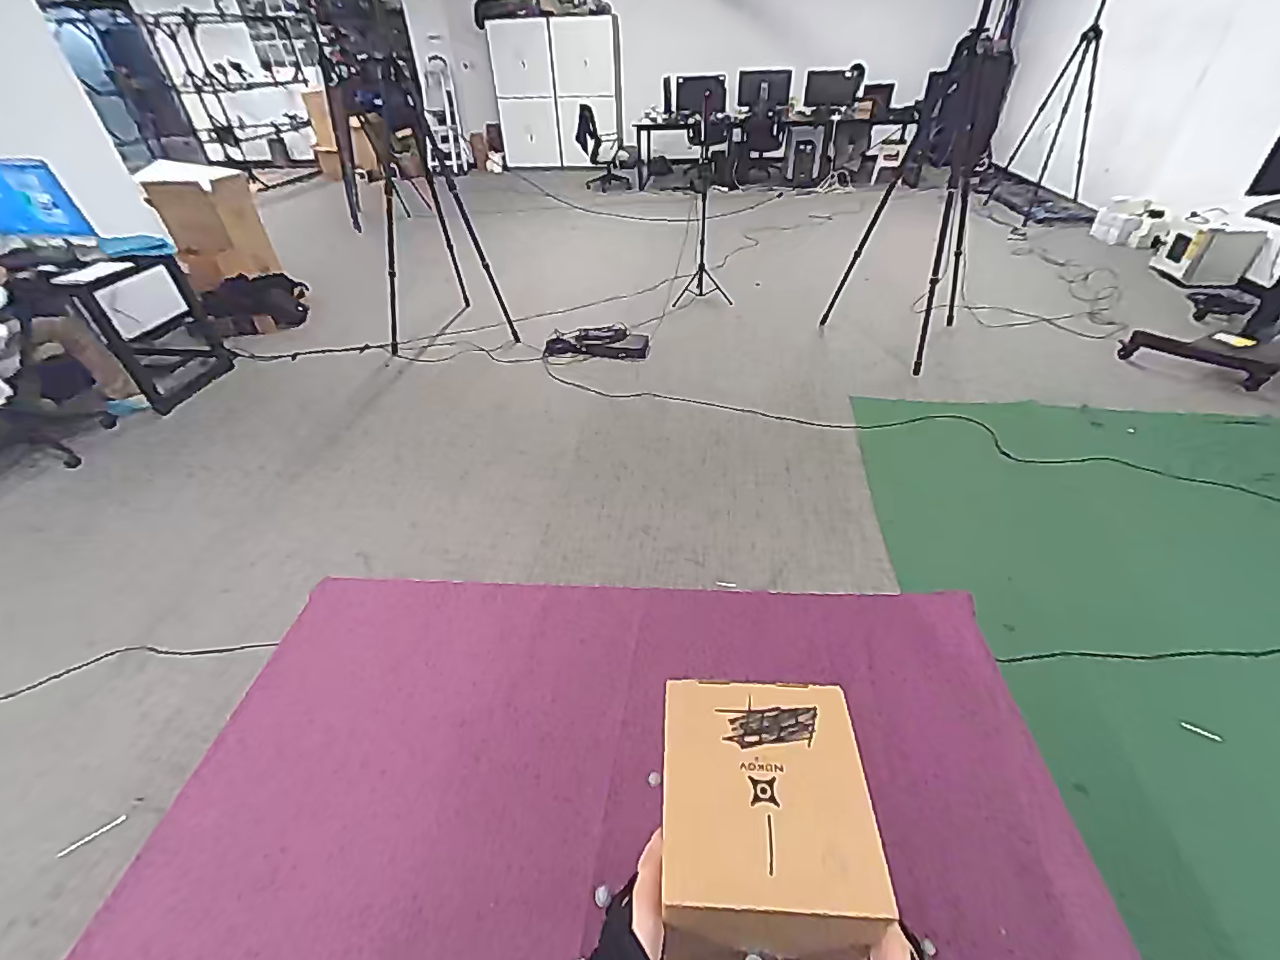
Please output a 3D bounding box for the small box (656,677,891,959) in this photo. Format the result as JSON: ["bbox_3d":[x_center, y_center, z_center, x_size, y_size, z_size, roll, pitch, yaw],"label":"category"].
[{"bbox_3d":[0.100,0.306,0.491,0.168,0.176,0.179,0,39,4],"label":"small box"}]
